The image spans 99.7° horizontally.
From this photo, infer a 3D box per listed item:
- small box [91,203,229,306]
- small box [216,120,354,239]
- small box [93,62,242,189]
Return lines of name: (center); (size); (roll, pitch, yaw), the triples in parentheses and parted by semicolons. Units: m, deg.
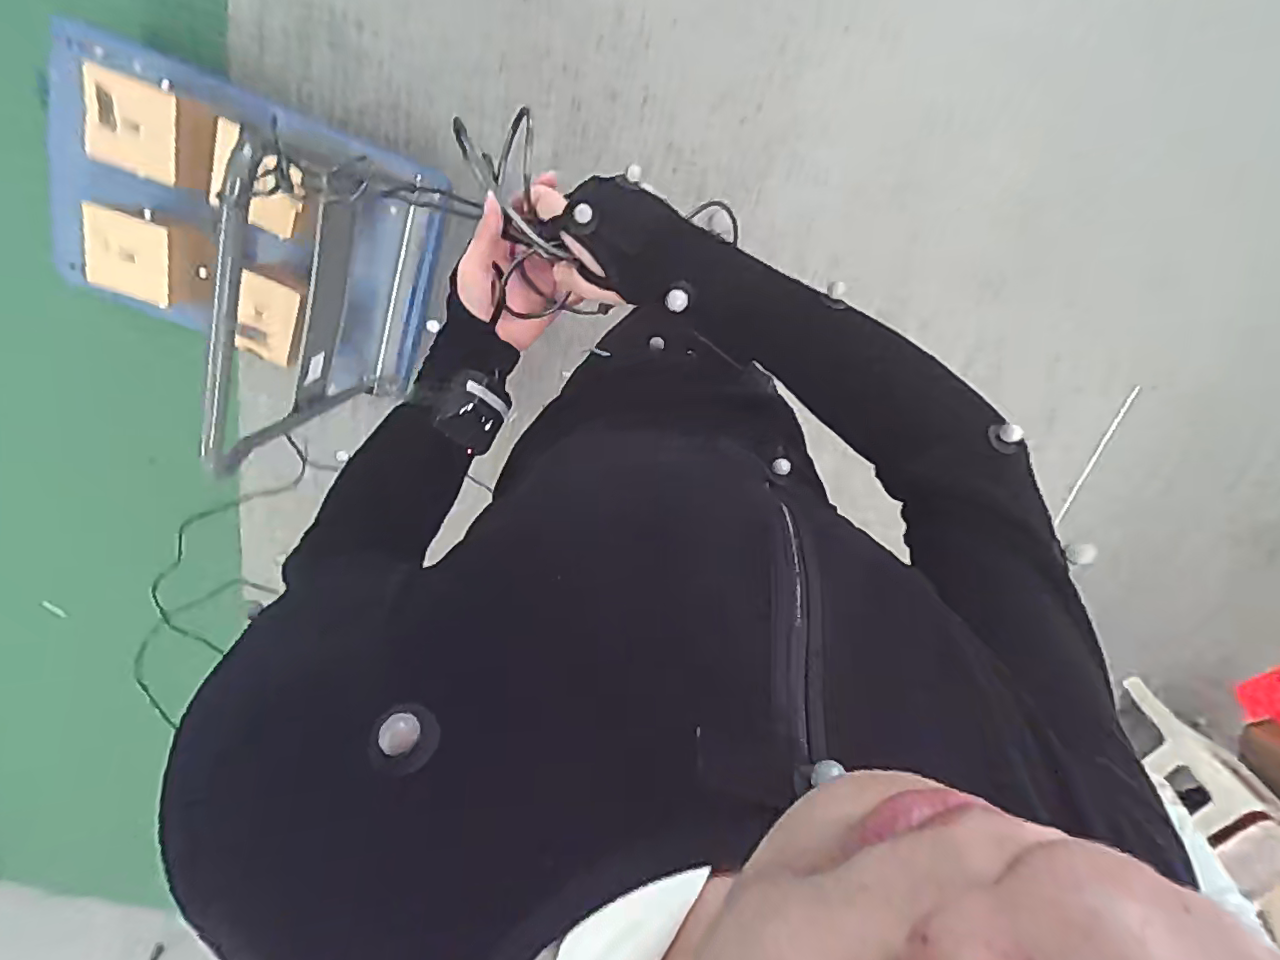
small box: (-1.086, -0.513, 1.238); (0.179, 0.176, 0.168); (18, 111, -5)
small box: (-0.764, -0.639, 1.175); (0.179, 0.176, 0.168); (23, 111, -7)
small box: (-0.990, -0.732, 1.144); (0.179, 0.176, 0.168); (19, 112, -7)
